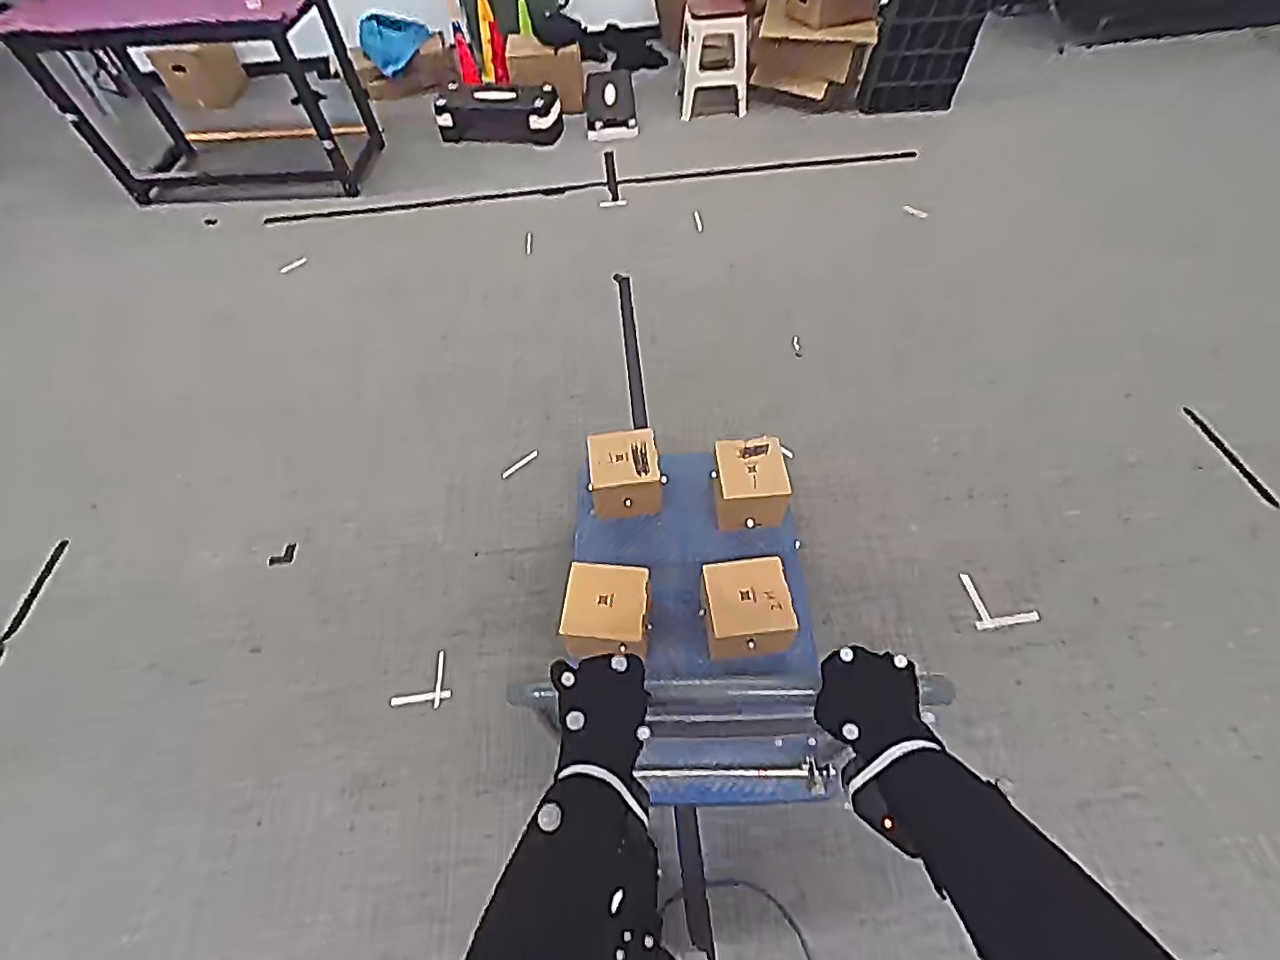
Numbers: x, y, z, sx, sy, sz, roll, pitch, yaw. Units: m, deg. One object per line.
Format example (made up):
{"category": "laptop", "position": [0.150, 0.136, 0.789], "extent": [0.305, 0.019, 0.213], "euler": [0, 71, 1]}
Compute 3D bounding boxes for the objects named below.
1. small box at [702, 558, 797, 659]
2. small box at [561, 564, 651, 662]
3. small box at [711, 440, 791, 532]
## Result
{"category": "small box", "position": [0.237, 0.295, 1.226], "extent": [0.179, 0.176, 0.168], "euler": [-6, 56, -1]}
{"category": "small box", "position": [-0.069, 0.308, 1.235], "extent": [0.179, 0.176, 0.168], "euler": [4, 56, 4]}
{"category": "small box", "position": [0.281, 0.016, 1.412], "extent": [0.168, 0.176, 0.179], "euler": [-4, 57, 0]}
